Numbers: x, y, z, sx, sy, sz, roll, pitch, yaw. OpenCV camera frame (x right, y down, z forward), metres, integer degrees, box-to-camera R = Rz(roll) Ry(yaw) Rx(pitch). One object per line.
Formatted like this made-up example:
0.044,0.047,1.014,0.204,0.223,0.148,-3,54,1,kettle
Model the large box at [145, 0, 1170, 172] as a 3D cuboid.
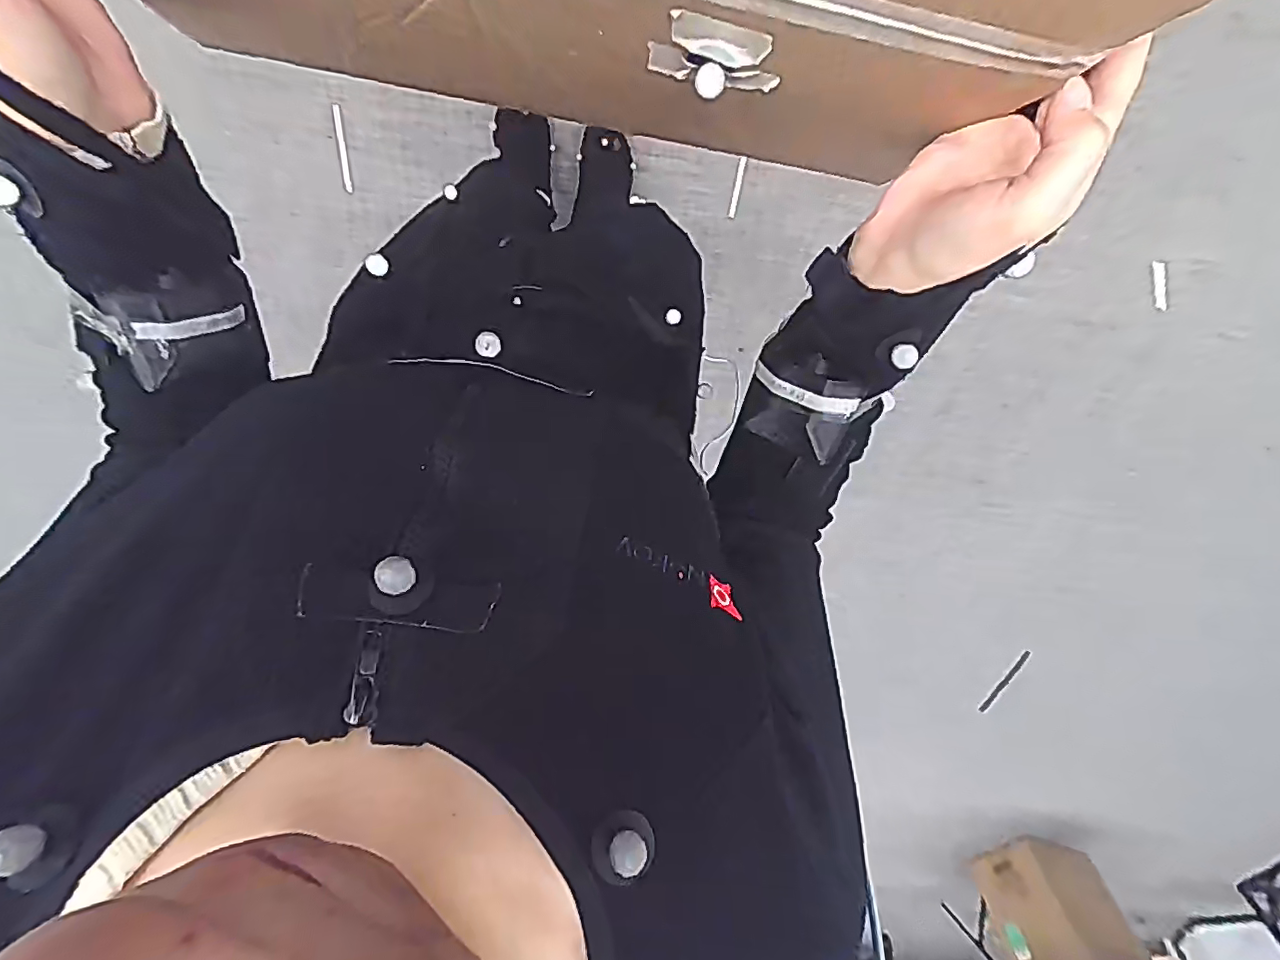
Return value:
-0.012,-0.331,0.147,0.408,0.320,0.320,6,104,-7,large box
